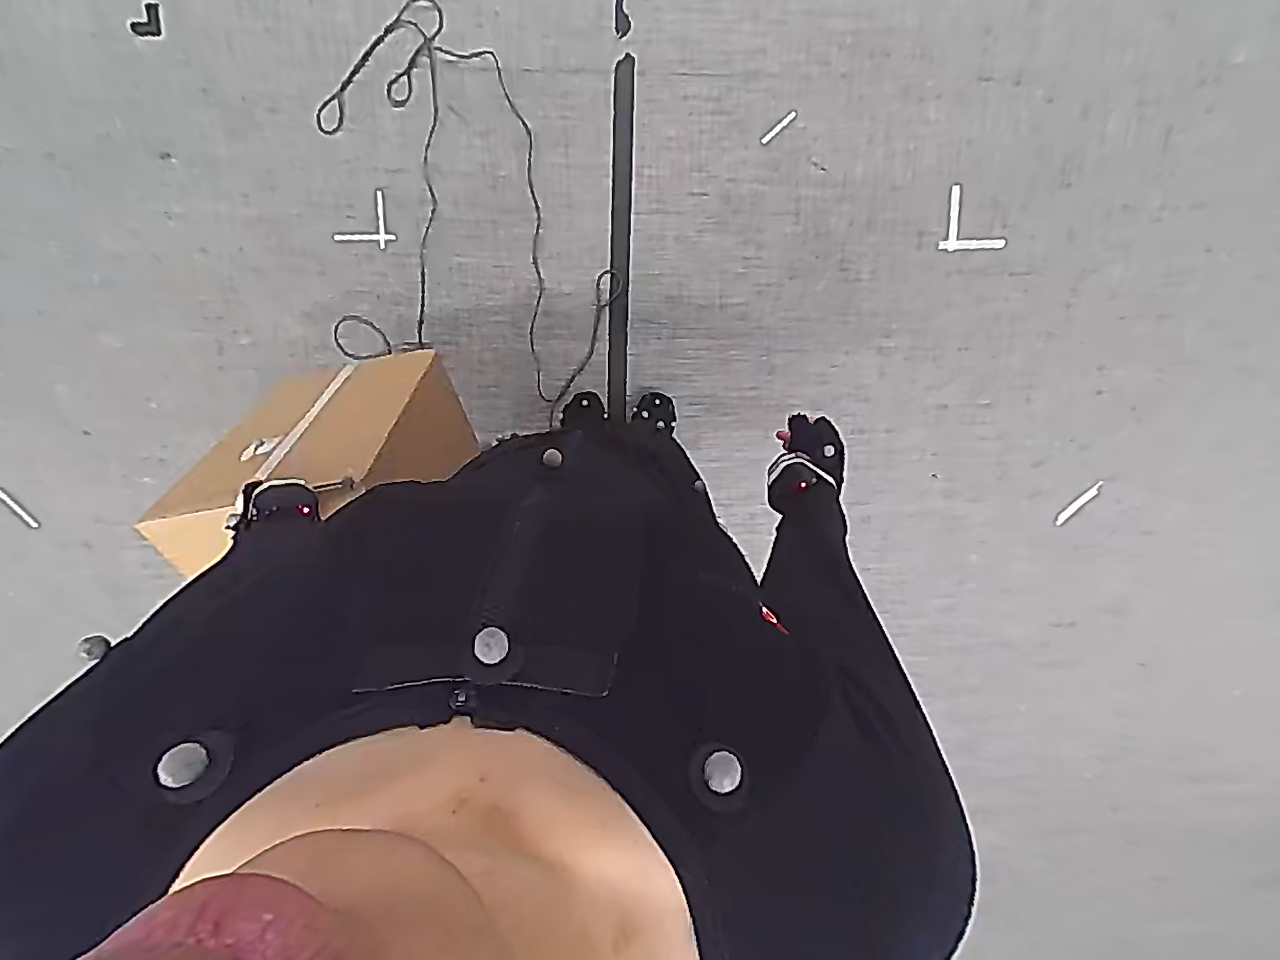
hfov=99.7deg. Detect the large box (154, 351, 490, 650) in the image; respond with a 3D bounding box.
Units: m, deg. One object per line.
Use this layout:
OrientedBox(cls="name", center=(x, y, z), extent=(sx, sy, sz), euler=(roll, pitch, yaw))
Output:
OrientedBox(cls="large box", center=(-0.483, 0.022, 0.948), extent=(0.320, 0.408, 0.320), euler=(-11, 128, 4))
